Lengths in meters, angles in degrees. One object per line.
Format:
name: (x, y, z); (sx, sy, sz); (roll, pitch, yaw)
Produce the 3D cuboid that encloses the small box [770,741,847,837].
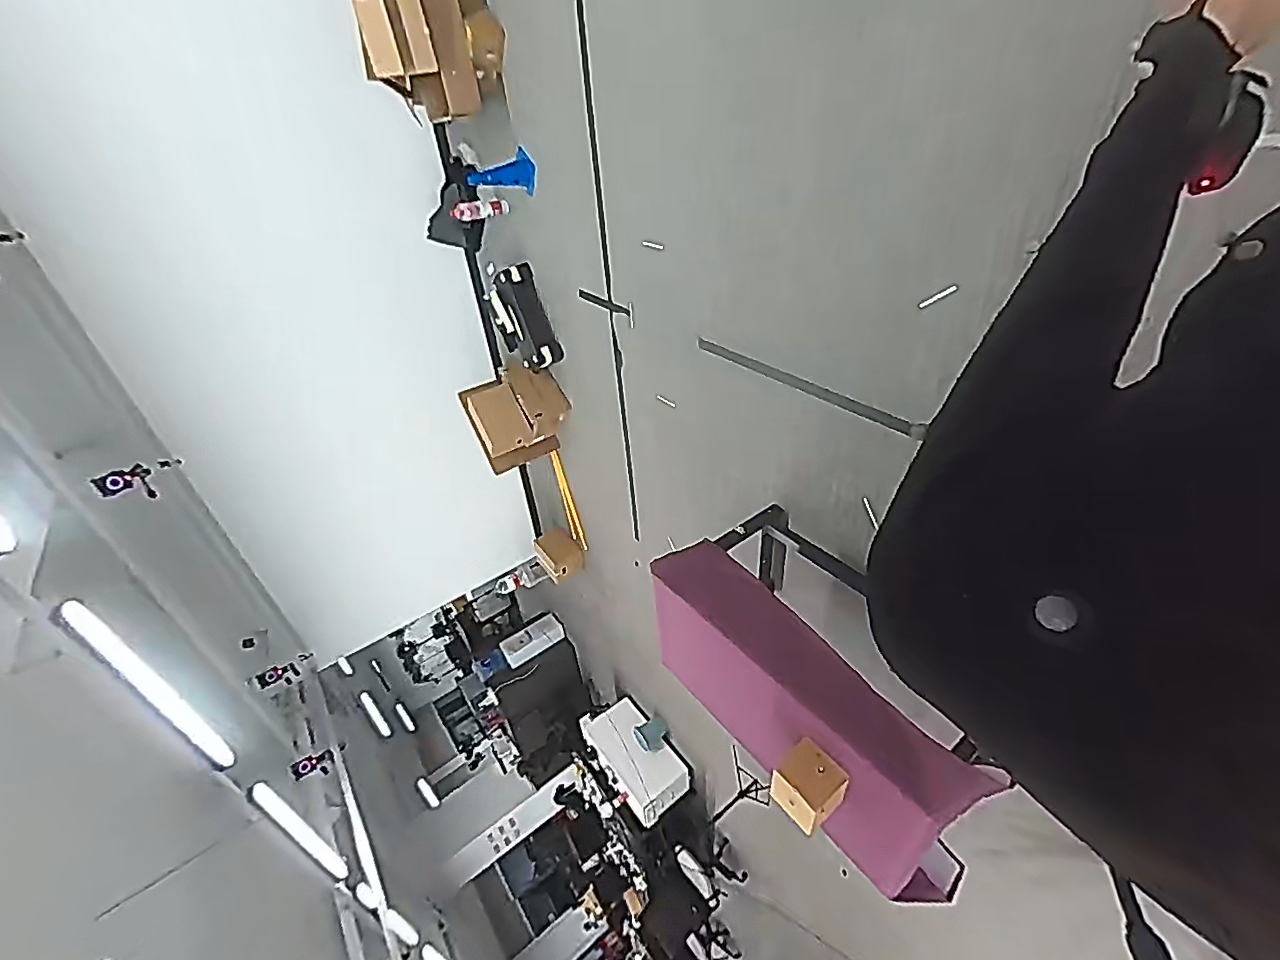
small box: (0.539, 0.986, 1.733); (0.168, 0.176, 0.179); (36, 142, 42)
